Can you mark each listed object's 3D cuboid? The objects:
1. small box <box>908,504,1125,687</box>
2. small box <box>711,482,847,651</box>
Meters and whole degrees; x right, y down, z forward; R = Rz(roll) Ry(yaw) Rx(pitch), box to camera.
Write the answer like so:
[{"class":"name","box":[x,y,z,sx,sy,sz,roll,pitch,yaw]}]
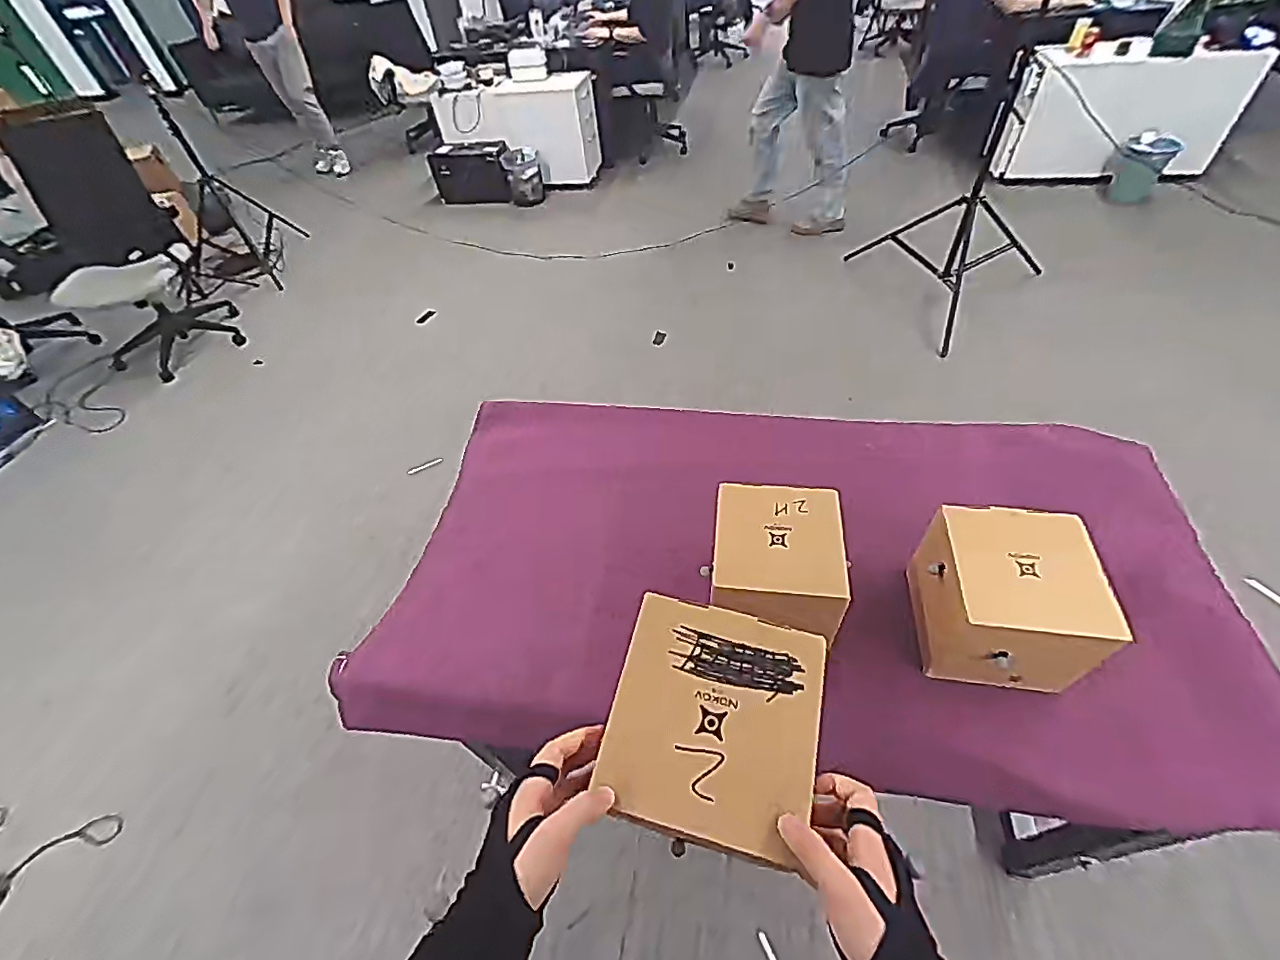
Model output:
[{"class":"small box","box":[0.474,0.155,0.718,0.168,0.176,0.179,4,49,10]},{"class":"small box","box":[0.190,0.126,0.774,0.168,0.176,0.179,4,48,9]}]
